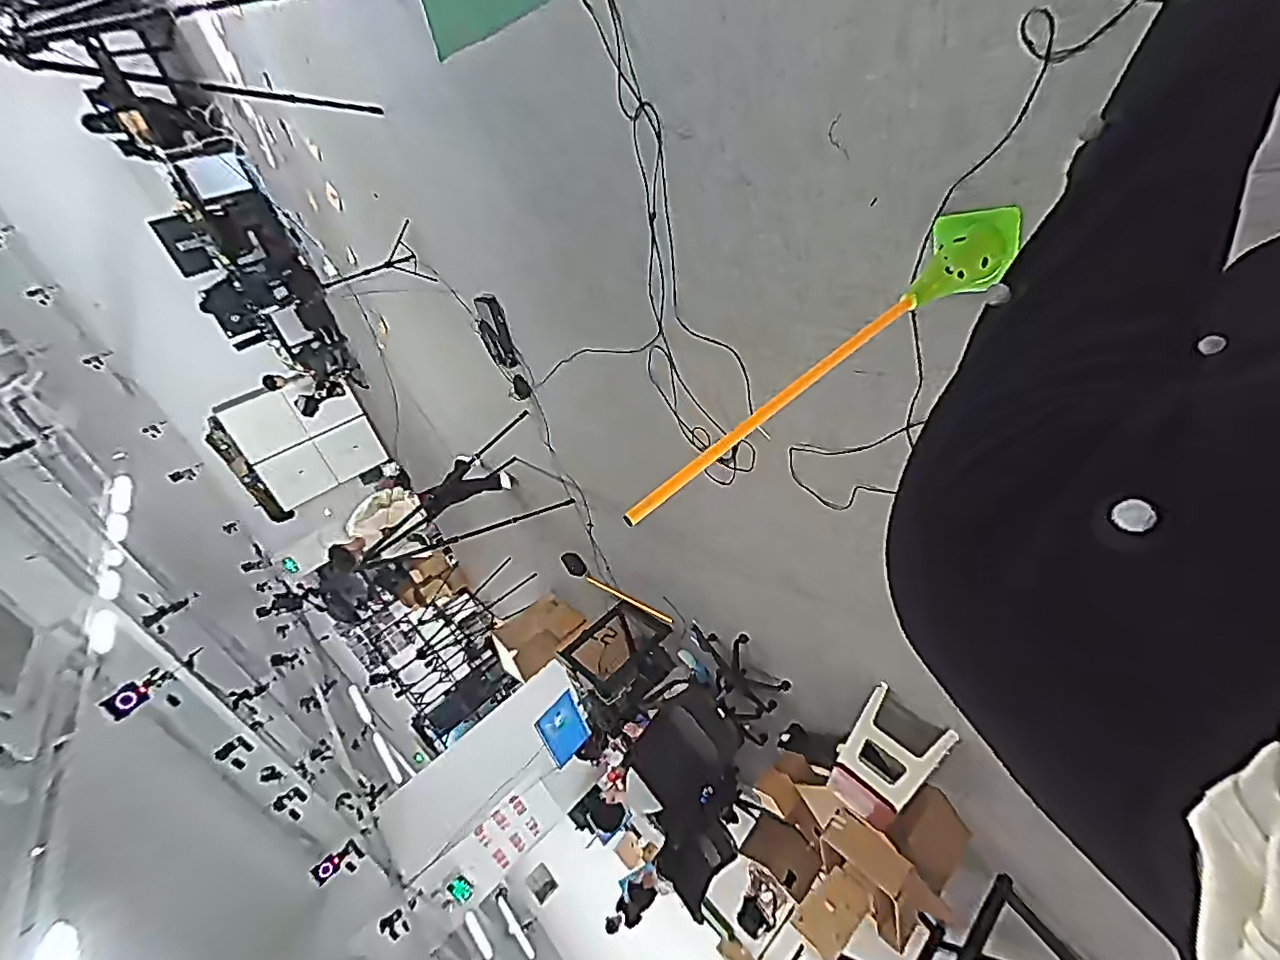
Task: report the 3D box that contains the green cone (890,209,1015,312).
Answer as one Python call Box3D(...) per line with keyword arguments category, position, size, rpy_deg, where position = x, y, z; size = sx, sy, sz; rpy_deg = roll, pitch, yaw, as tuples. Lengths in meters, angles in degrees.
Box3D(category="green cone", position=(0.730, -0.500, 1.322), size=(0.202, 0.368, 0.200), rpy_deg=(20, 136, 49))
